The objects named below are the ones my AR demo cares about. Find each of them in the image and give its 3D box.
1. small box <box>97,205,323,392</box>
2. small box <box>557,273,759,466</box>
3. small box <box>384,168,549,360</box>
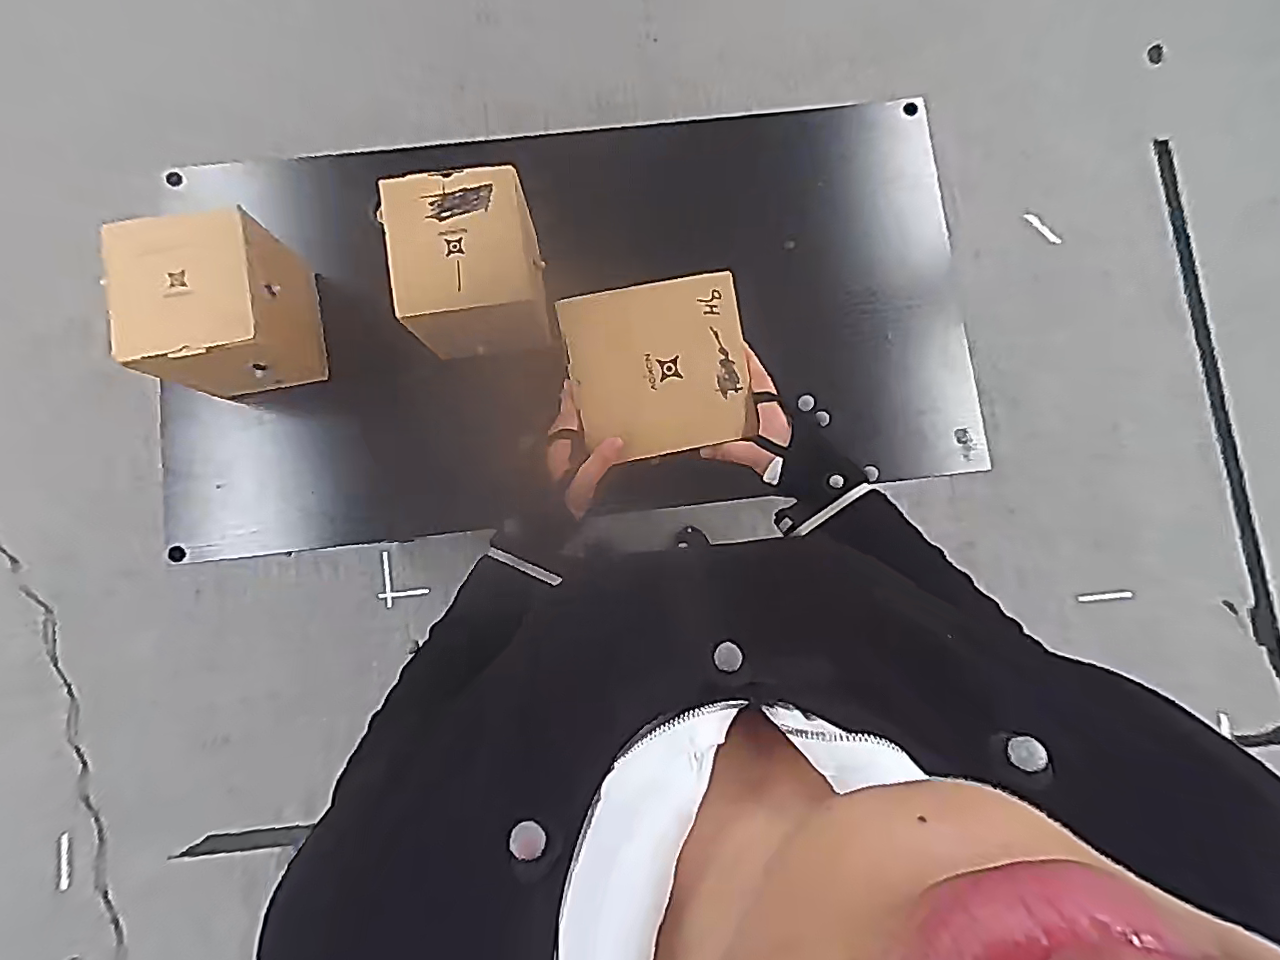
[{"bbox_3d":[-0.550,-0.224,0.716,0.168,0.176,0.179,-11,84,-4],"label":"small box"},{"bbox_3d":[0.013,-0.109,0.600,0.179,0.176,0.168,-11,94,-5],"label":"small box"},{"bbox_3d":[-0.222,-0.279,0.729,0.168,0.176,0.179,-8,85,-2],"label":"small box"}]
